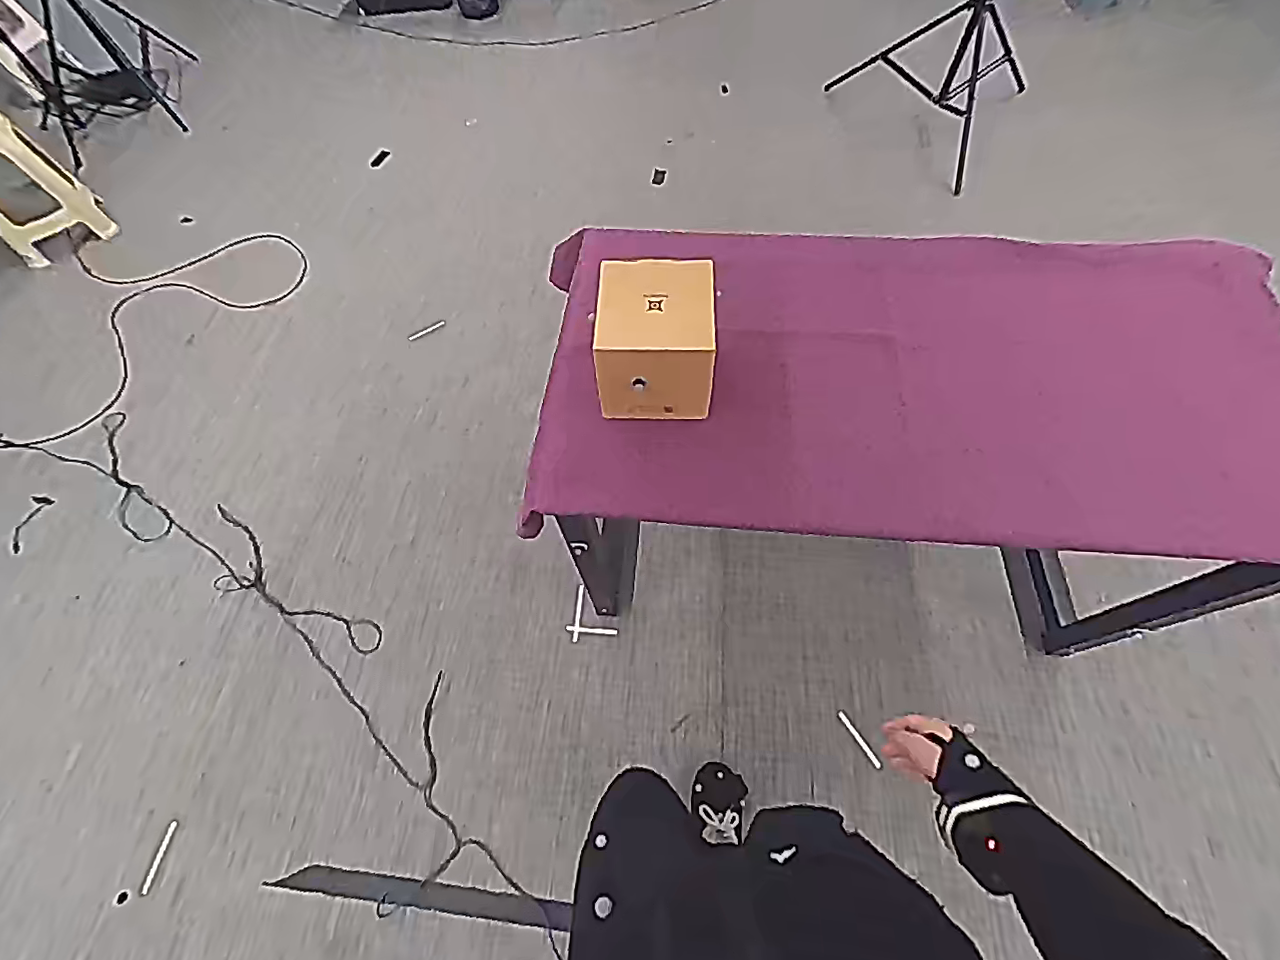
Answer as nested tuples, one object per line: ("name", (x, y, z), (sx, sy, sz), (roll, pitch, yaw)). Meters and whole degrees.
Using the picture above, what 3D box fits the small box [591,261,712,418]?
("small box", (0.023, -0.208, 0.828), (0.168, 0.176, 0.179), (1, 61, 3))
